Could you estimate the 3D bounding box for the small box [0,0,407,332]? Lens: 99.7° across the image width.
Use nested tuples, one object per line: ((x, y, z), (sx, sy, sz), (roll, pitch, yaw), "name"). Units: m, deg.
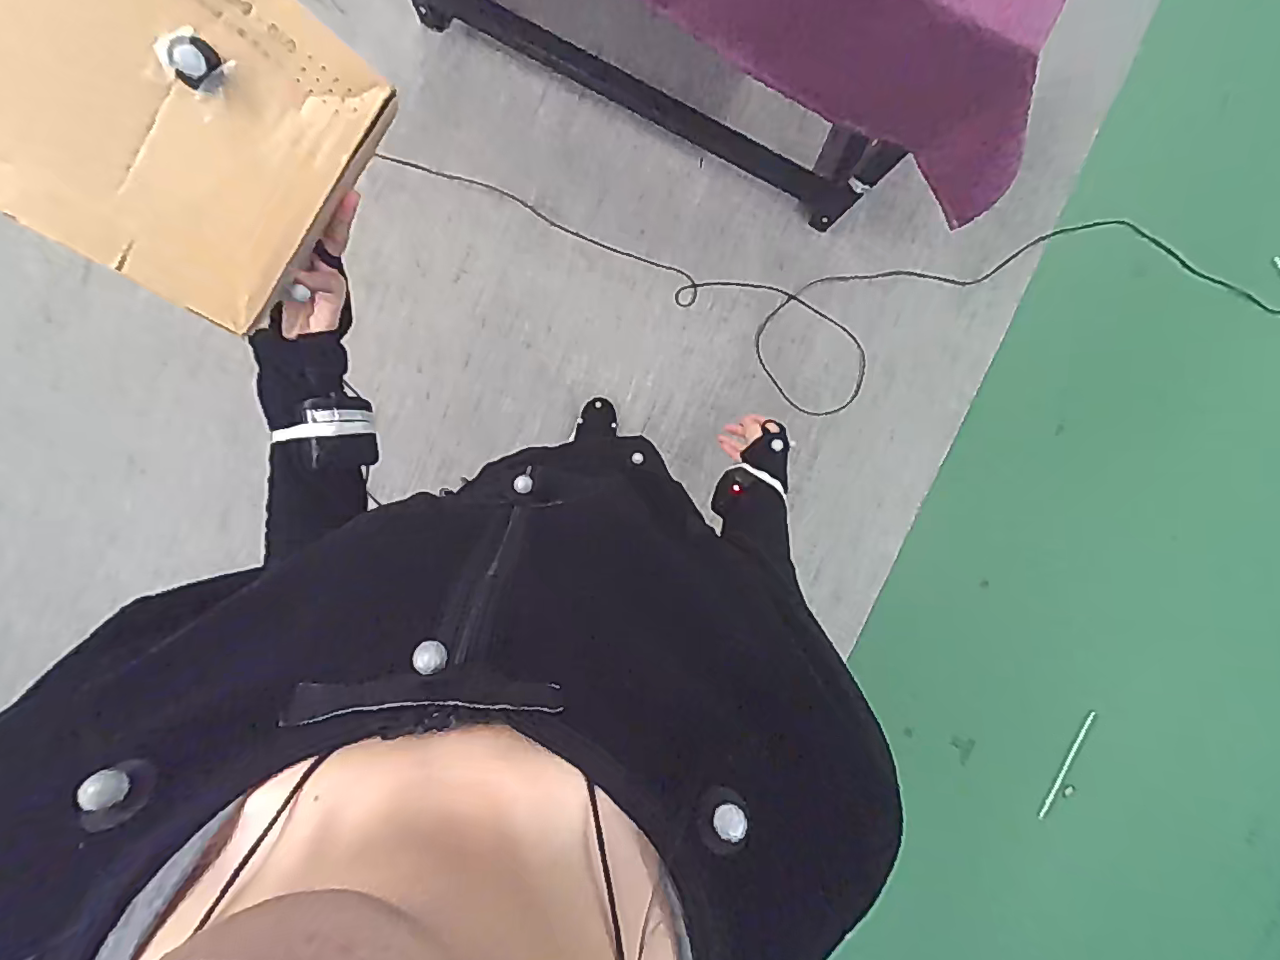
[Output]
((-0.261, -0.225, 0.325), (0.168, 0.179, 0.176), (32, 102, -35), "small box")
